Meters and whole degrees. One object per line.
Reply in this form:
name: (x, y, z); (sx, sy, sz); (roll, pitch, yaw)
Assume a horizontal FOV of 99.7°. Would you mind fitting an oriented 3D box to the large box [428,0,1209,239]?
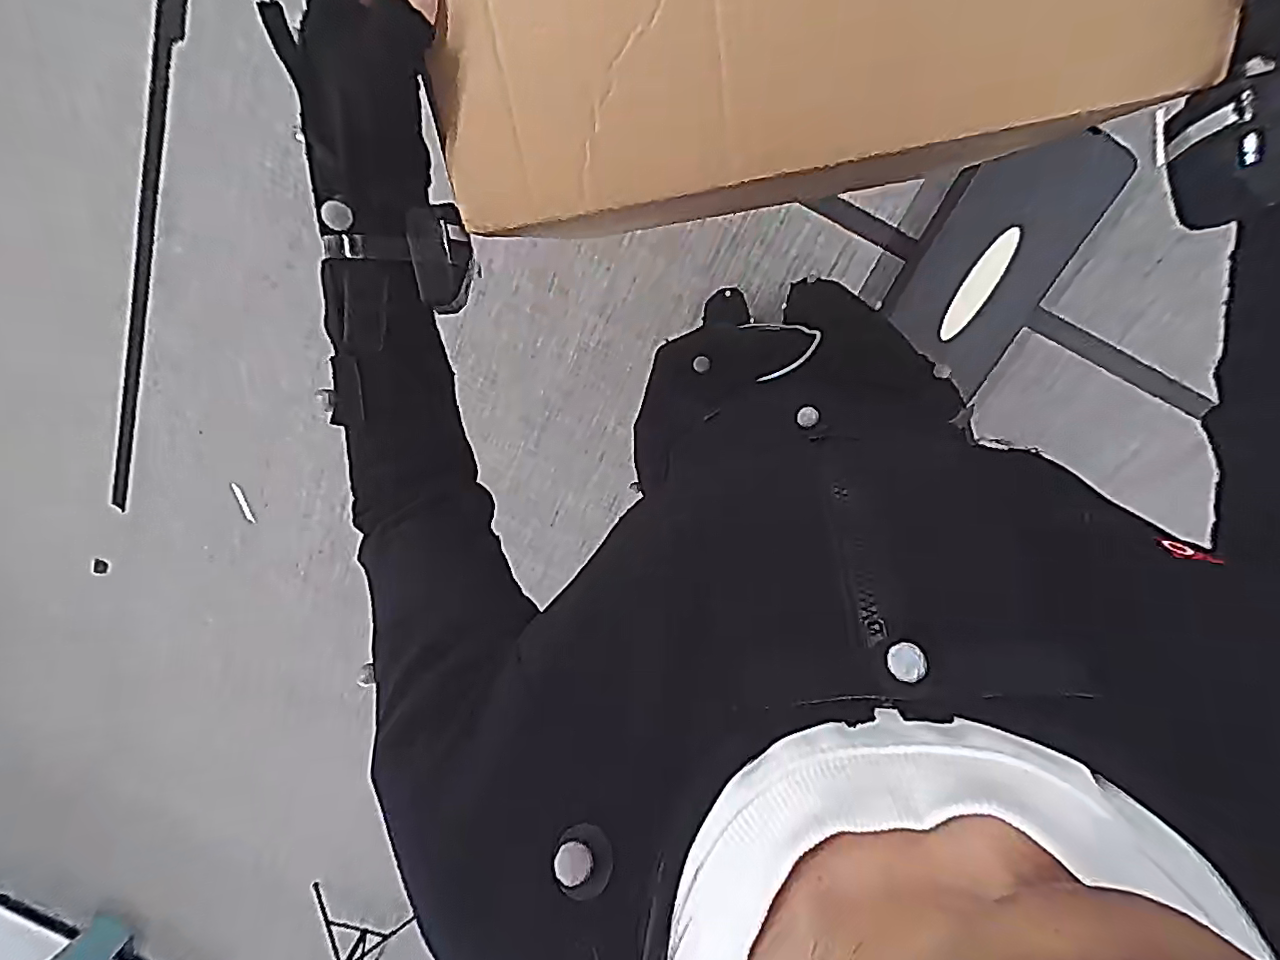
large box: (0.083, -0.384, 0.396); (0.408, 0.320, 0.320); (-7, 112, 10)
